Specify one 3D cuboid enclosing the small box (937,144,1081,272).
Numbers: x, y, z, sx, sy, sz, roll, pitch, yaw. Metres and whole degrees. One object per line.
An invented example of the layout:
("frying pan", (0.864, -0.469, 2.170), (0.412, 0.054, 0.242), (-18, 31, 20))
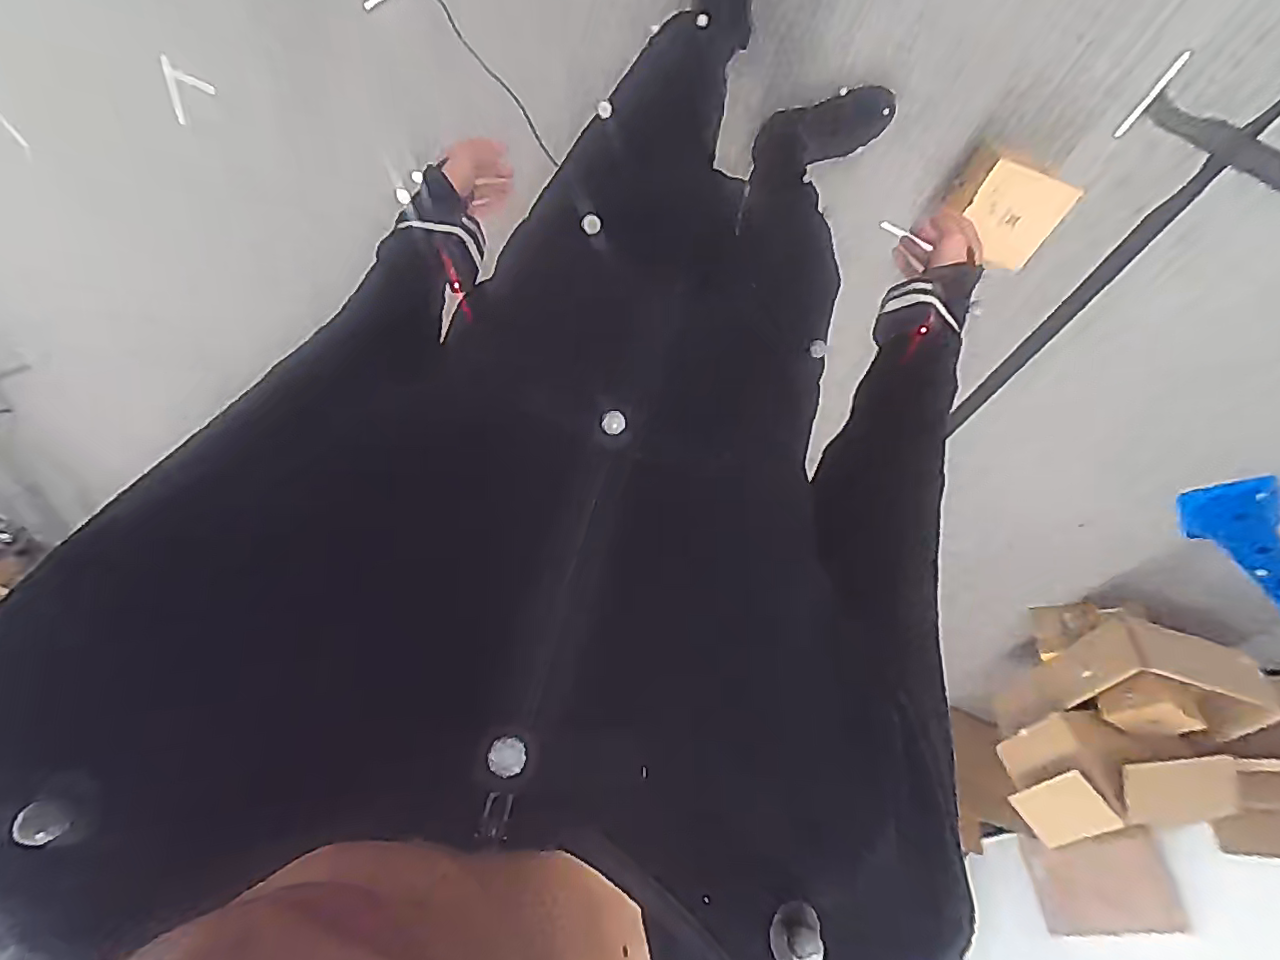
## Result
("small box", (0.753, -0.571, 1.126), (0.179, 0.176, 0.168), (23, 135, 0))
